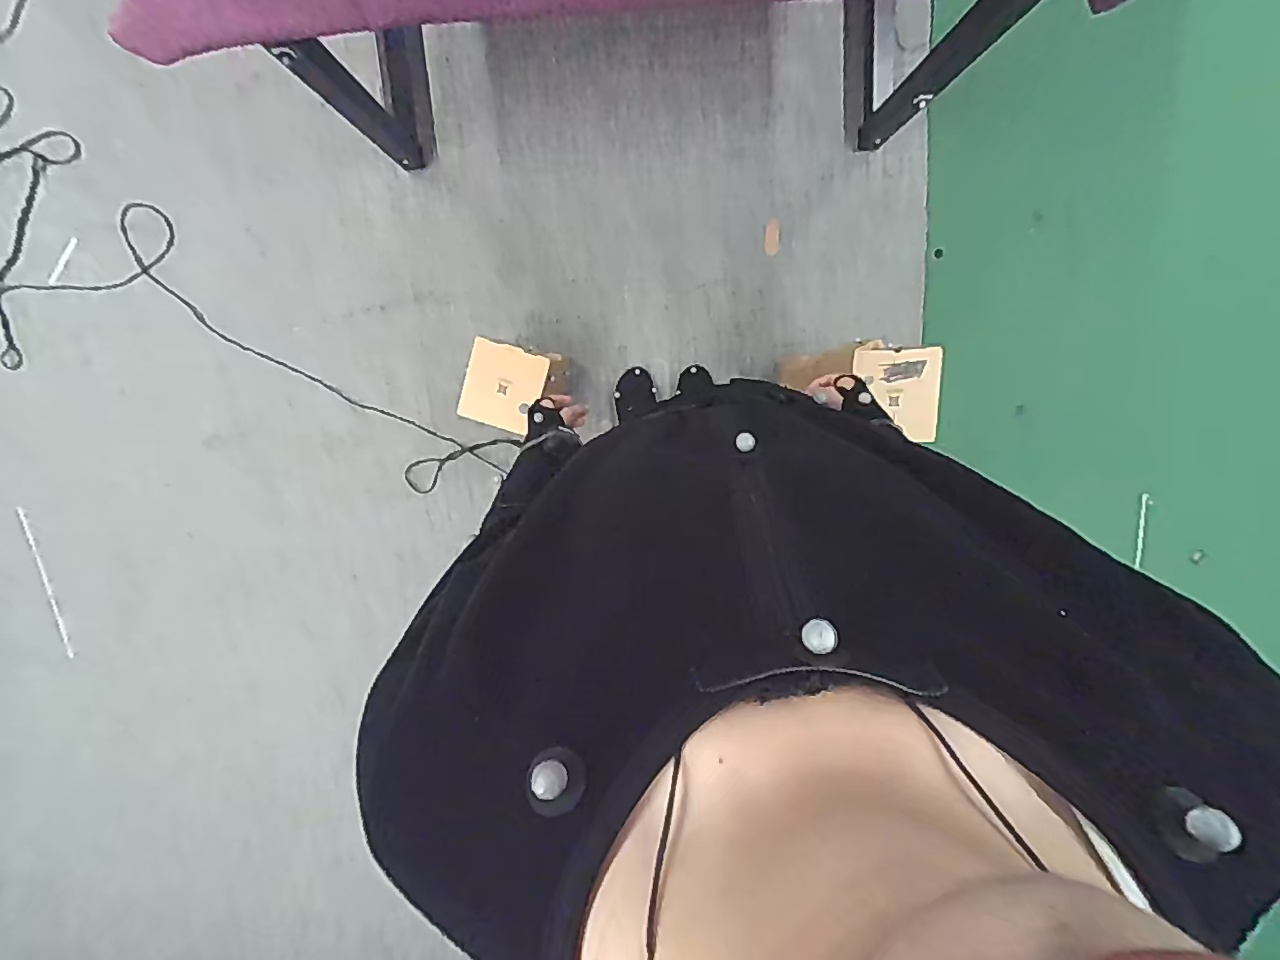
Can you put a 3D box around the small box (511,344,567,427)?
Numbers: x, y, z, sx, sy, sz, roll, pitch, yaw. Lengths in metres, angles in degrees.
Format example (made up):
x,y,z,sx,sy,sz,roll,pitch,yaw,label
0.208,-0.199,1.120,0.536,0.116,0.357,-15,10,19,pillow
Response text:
x,y,z,sx,sy,sz,roll,pitch,yaw,label
-0.286,-0.244,1.376,0.168,0.176,0.179,12,102,-3,small box

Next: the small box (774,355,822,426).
x,y,z,sx,sy,sz,roll,pitch,yaw,label
0.457,-0.225,1.392,0.179,0.176,0.168,6,102,-2,small box

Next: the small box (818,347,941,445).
x,y,z,sx,sy,sz,roll,pitch,yaw,label
0.461,-0.168,1.068,0.168,0.176,0.179,-2,103,-1,small box

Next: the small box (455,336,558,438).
x,y,z,sx,sy,sz,roll,pitch,yaw,label
-0.292,-0.210,1.218,0.168,0.176,0.179,17,100,-3,small box
